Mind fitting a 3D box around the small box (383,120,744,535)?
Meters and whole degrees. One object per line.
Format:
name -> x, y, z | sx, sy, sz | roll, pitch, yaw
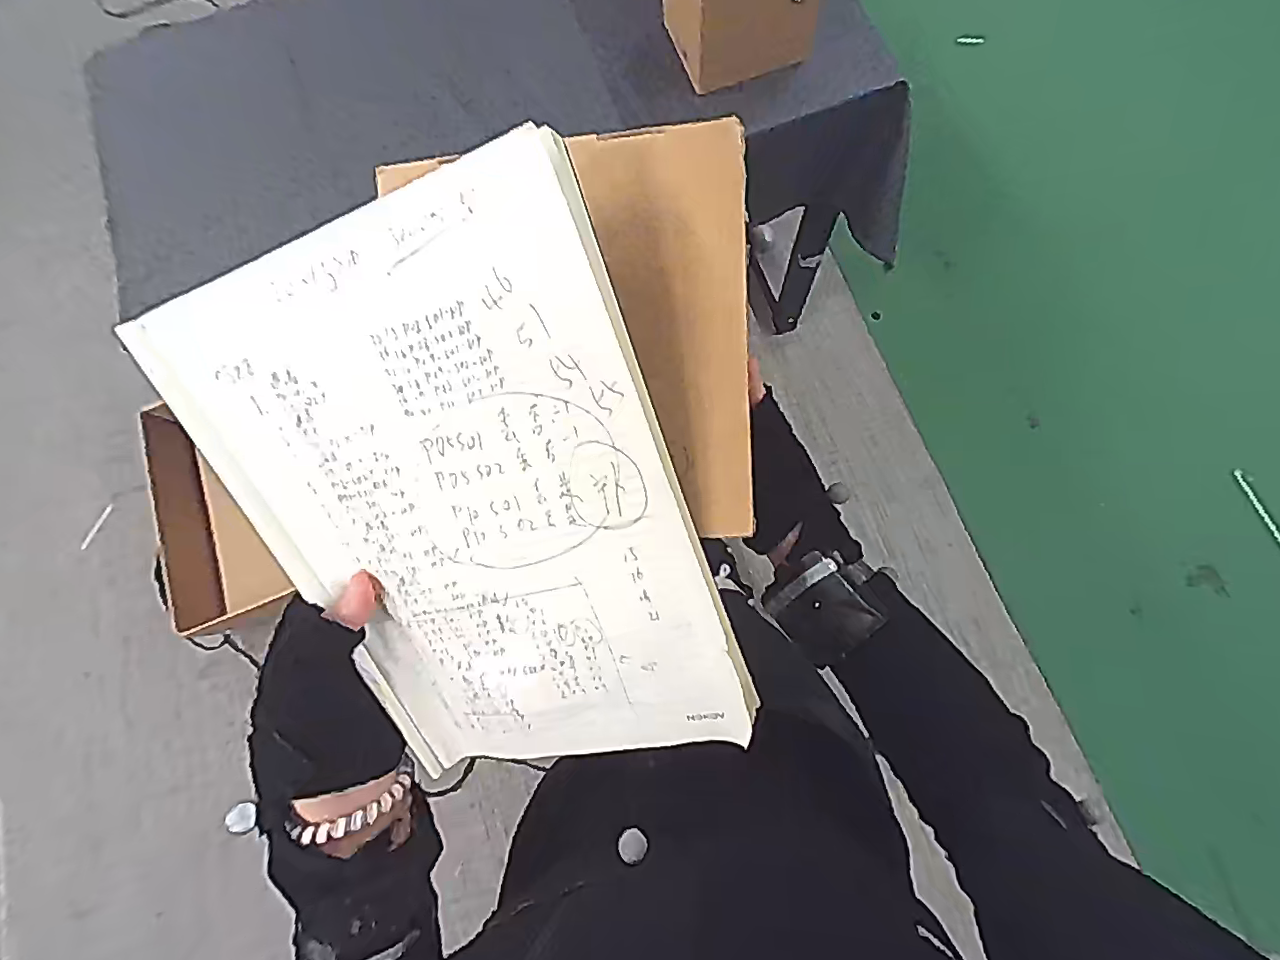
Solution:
small box -> -0.023, -0.068, 0.323 | 0.168, 0.176, 0.179 | -2, 93, 9
